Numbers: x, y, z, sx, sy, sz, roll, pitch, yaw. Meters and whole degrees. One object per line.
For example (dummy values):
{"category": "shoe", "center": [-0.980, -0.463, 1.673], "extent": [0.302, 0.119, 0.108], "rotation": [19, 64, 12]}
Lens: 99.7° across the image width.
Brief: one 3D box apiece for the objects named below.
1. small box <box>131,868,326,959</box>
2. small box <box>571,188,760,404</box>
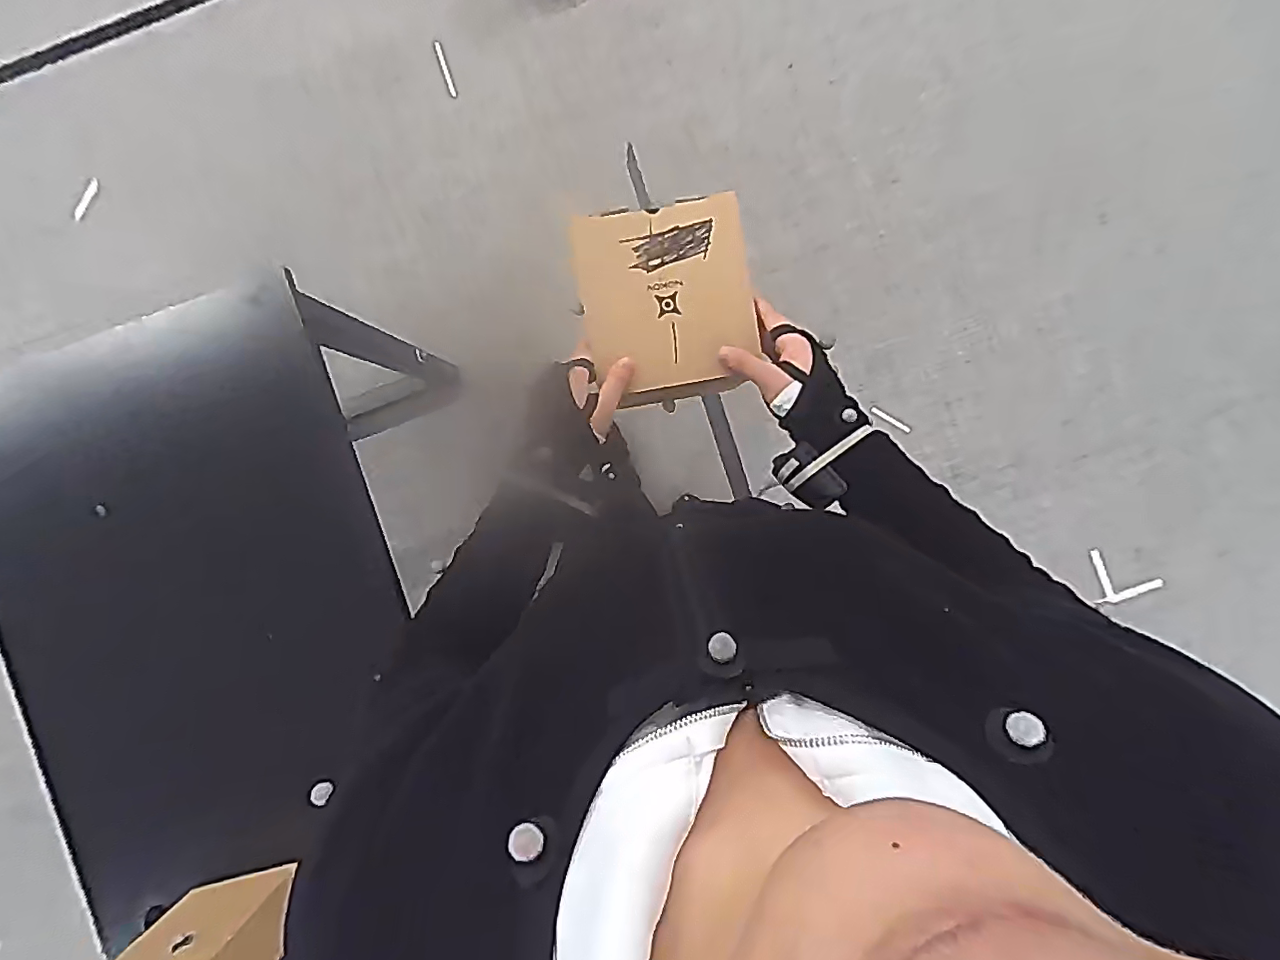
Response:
{"category": "small box", "center": [-0.555, 0.665, 0.722], "extent": [0.179, 0.176, 0.168], "rotation": [-16, 90, 3]}
{"category": "small box", "center": [0.023, -0.188, 0.601], "extent": [0.168, 0.176, 0.179], "rotation": [-9, 94, 0]}
